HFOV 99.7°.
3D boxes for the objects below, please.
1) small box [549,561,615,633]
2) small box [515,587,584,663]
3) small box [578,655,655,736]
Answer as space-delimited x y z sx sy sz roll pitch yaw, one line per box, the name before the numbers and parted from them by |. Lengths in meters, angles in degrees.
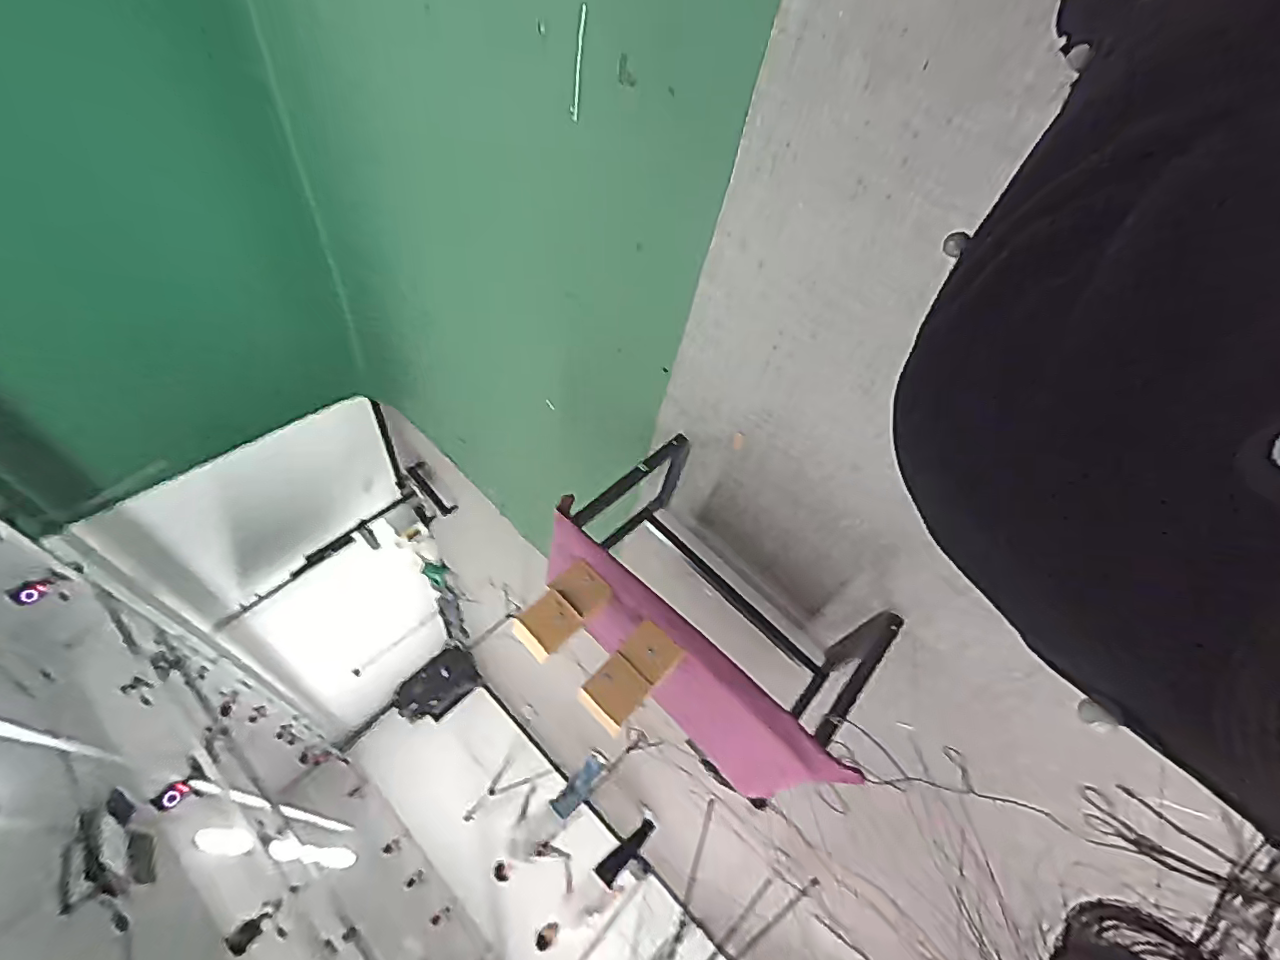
small box | -0.219 0.424 1.997 0.179 0.176 0.168 41 148 18
small box | -0.316 0.507 1.893 0.168 0.176 0.179 45 147 11
small box | -0.079 0.699 1.773 0.179 0.176 0.168 41 148 17
